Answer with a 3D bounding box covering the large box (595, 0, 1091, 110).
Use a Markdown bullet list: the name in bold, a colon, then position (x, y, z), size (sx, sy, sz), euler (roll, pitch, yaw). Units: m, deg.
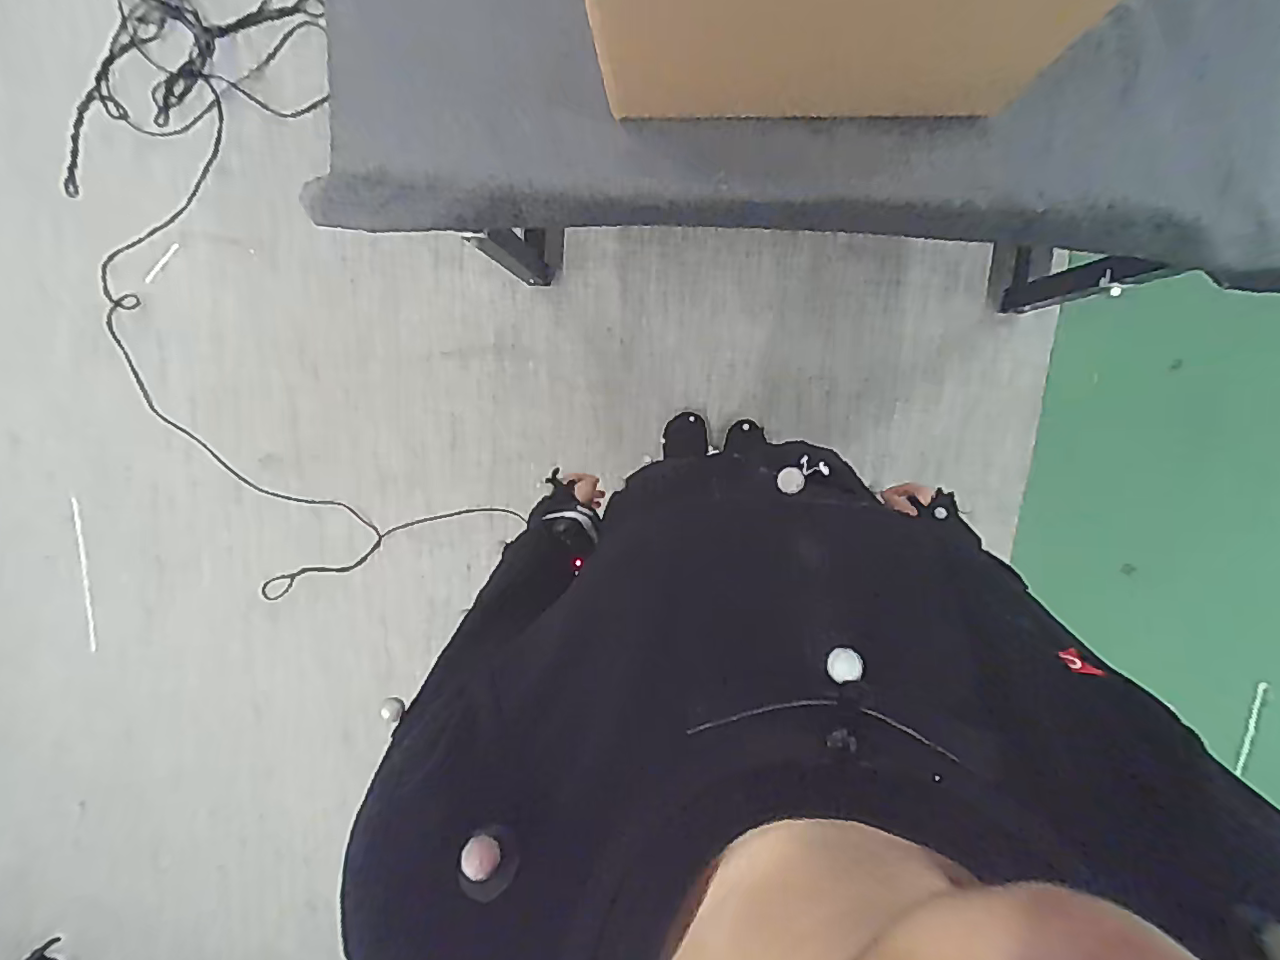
- **large box**: position (0.161, -0.526, 0.407), size (0.408, 0.320, 0.320), euler (1, 99, 2)
